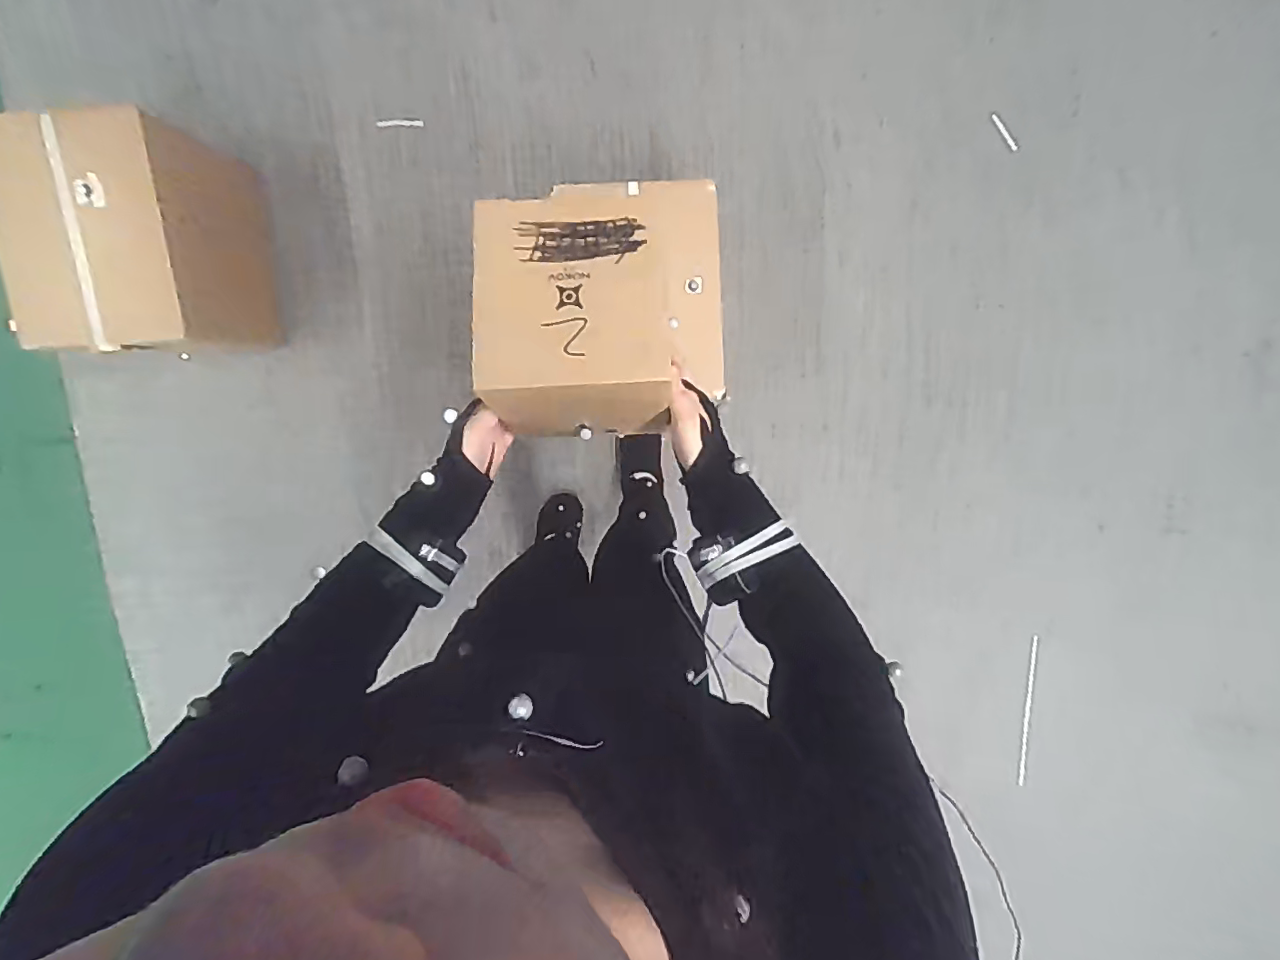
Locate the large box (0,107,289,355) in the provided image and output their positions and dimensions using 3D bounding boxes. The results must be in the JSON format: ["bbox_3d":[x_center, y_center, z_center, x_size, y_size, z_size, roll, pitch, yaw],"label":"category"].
[{"bbox_3d":[-1.017,-0.483,1.141,0.320,0.320,0.408,-3,100,0],"label":"large box"}]
